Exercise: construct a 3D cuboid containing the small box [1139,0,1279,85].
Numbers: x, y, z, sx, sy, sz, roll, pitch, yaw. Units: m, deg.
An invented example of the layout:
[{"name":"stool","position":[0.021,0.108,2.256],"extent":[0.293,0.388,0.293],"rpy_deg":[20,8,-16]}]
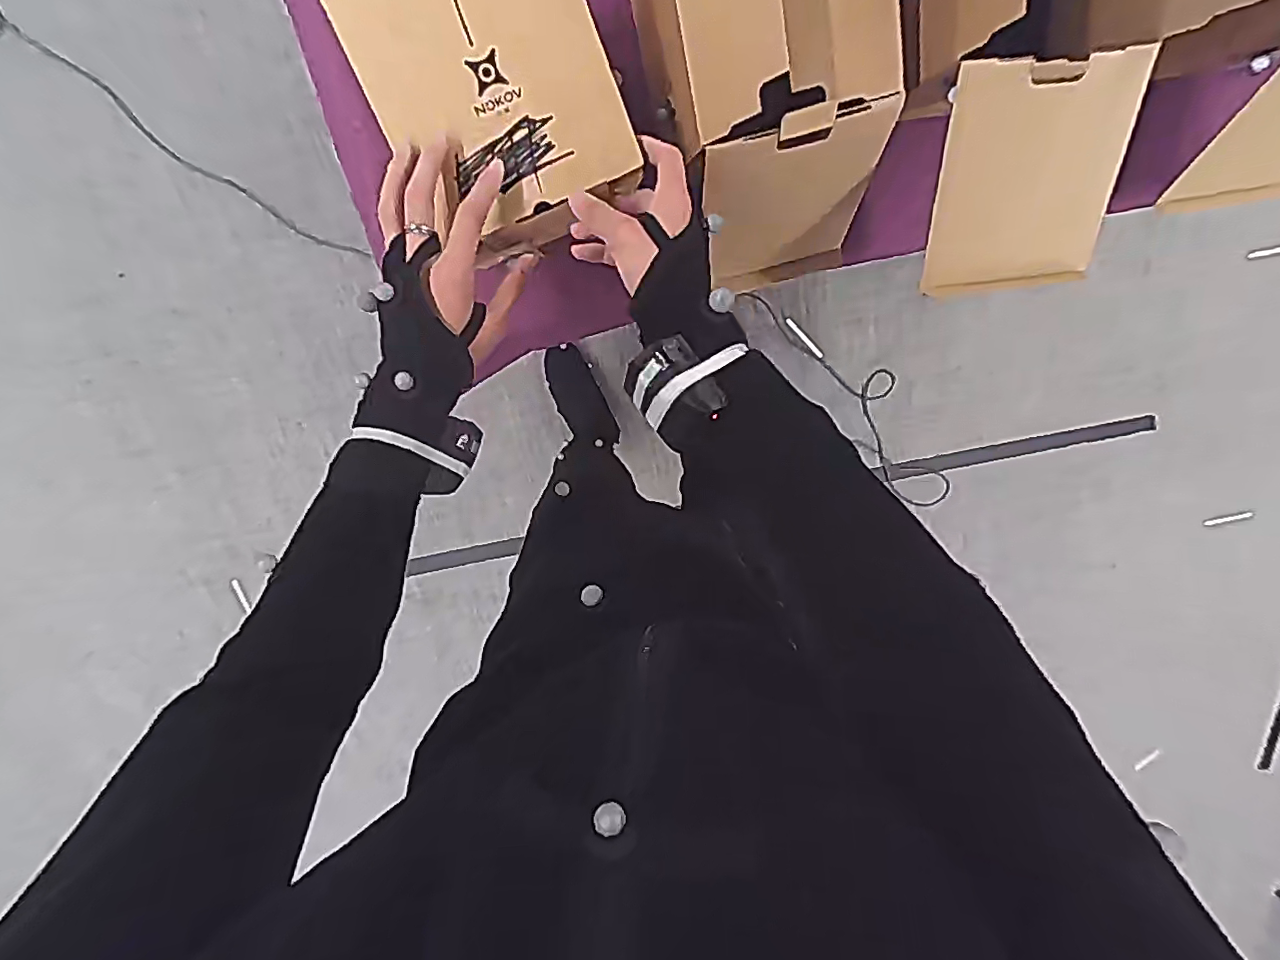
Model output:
[{"name":"small box","position":[0.591,-0.480,0.466],"extent":[0.168,0.176,0.179],"rpy_deg":[-9,110,-2]}]
